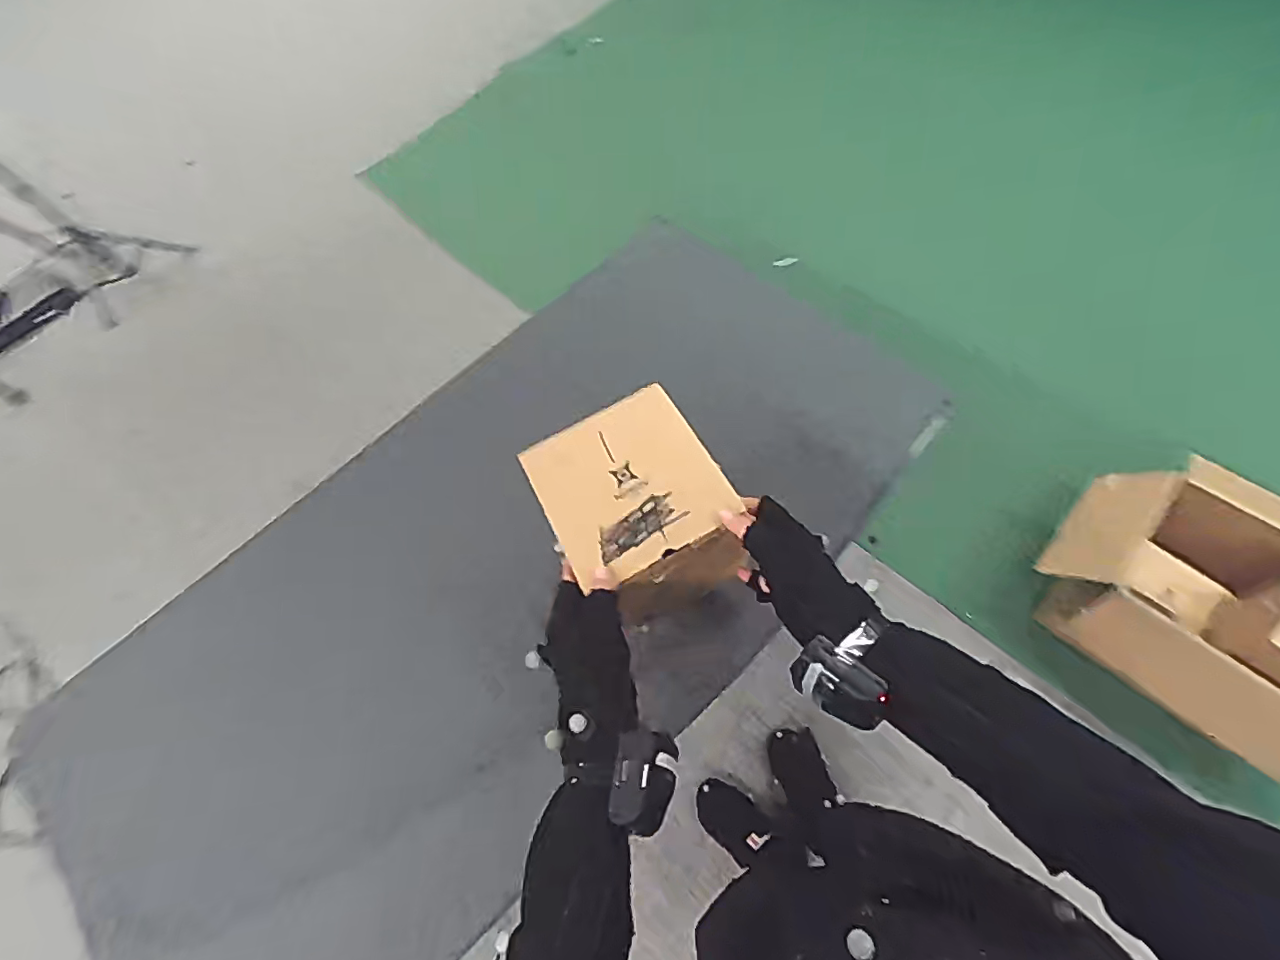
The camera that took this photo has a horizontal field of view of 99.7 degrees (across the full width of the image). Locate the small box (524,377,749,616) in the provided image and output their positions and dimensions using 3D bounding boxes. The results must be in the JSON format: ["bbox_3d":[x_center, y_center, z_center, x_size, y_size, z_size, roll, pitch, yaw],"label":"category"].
[{"bbox_3d":[0.003,0.030,0.581,0.168,0.176,0.179,-27,63,-5],"label":"small box"}]
